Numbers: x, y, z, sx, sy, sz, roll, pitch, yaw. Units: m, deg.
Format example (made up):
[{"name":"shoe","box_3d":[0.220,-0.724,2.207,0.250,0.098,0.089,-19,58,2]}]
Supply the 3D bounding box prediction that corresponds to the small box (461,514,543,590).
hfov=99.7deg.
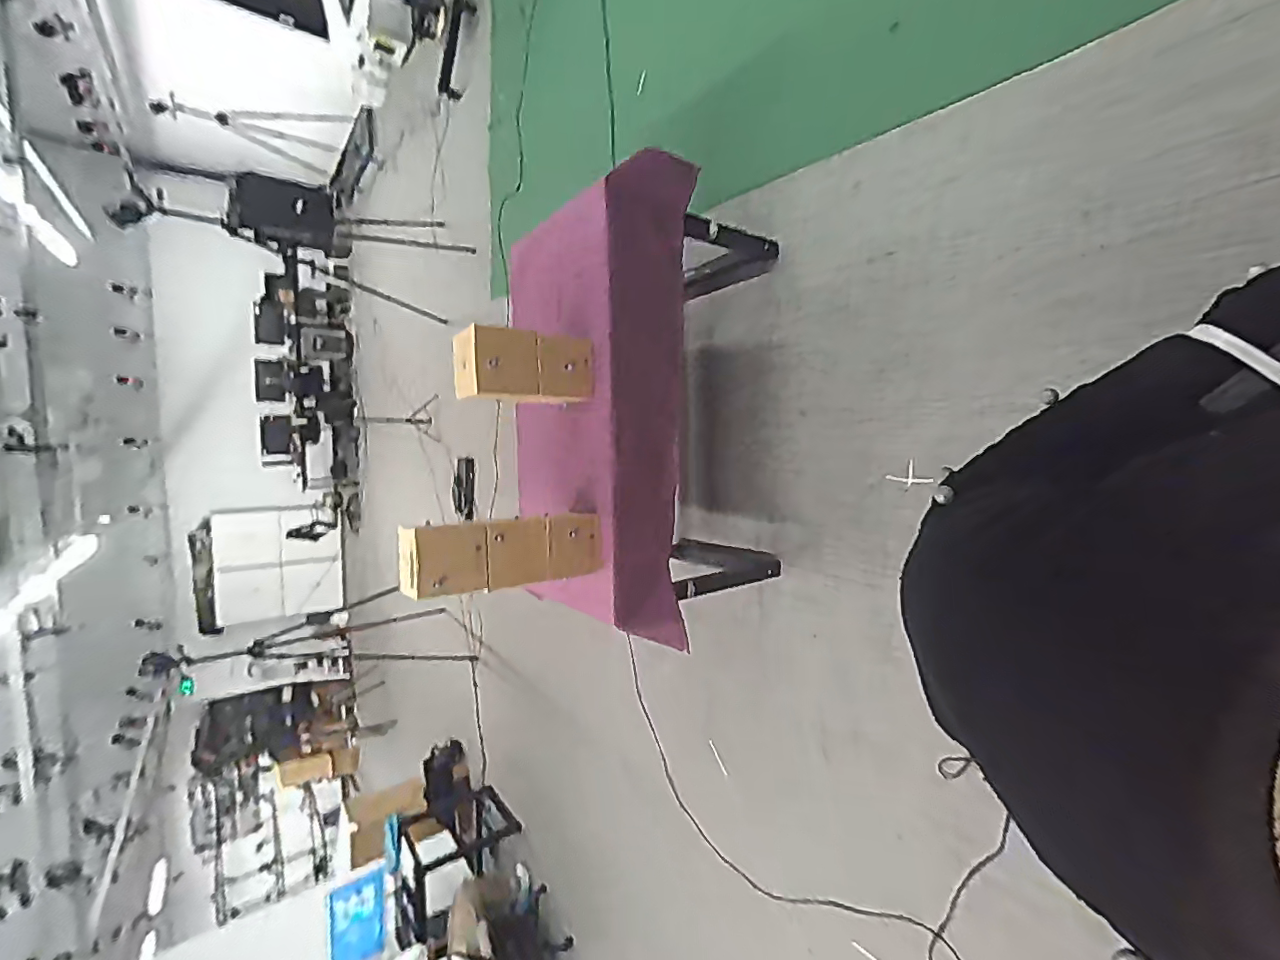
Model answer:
[{"name":"small box","box_3d":[-0.366,0.186,1.441,0.168,0.176,0.179,-3,89,52]}]

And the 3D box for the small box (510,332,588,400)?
[{"name":"small box","box_3d":[-0.258,-0.316,1.527,0.179,0.176,0.168,3,95,52]}]

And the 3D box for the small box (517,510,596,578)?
[{"name":"small box","box_3d":[-0.237,0.174,1.539,0.179,0.176,0.168,1,92,53]}]

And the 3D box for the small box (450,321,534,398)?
[{"name":"small box","box_3d":[-0.388,-0.309,1.425,0.168,0.176,0.179,2,95,52]}]
